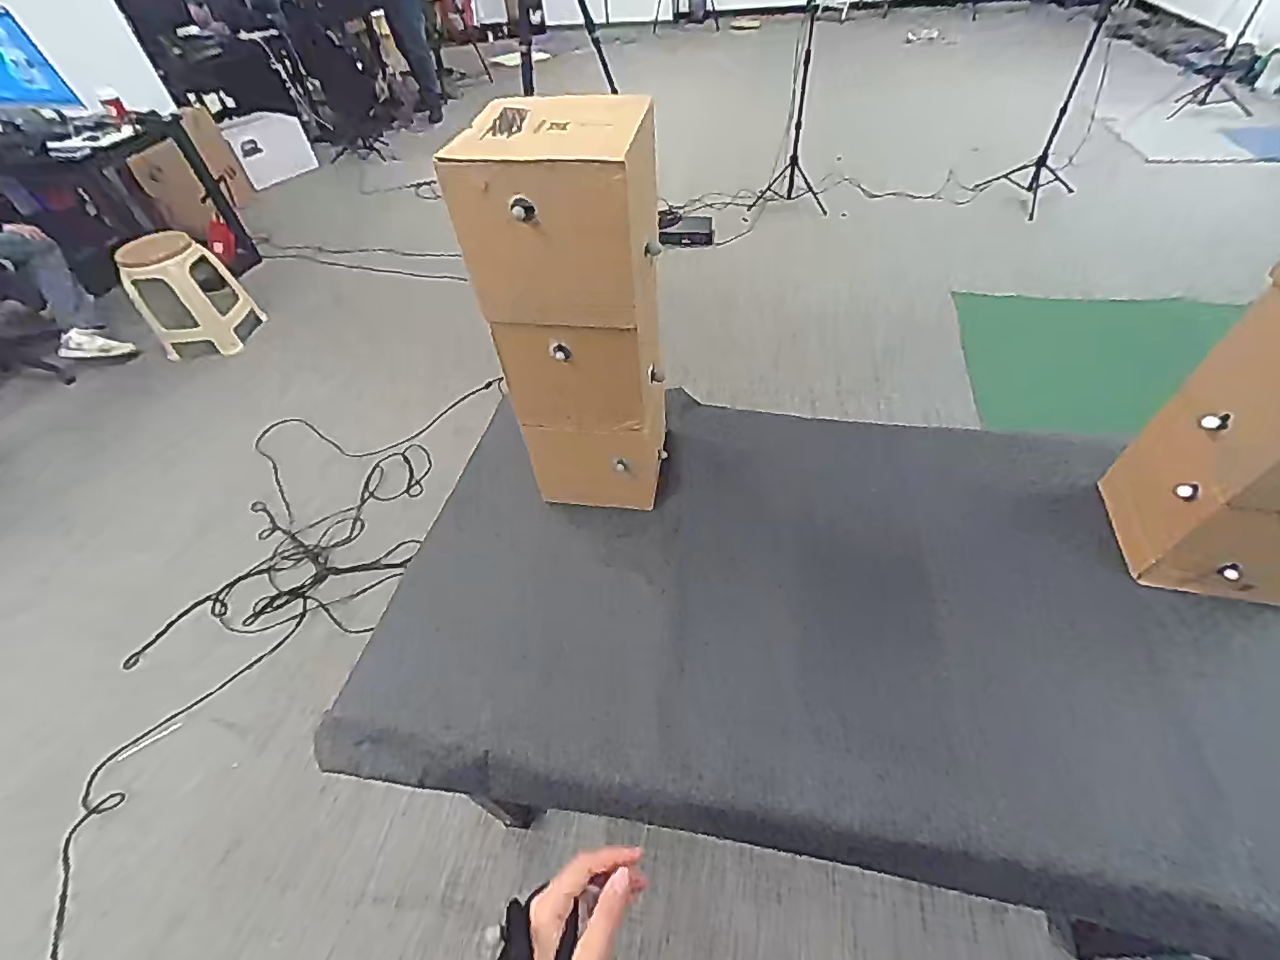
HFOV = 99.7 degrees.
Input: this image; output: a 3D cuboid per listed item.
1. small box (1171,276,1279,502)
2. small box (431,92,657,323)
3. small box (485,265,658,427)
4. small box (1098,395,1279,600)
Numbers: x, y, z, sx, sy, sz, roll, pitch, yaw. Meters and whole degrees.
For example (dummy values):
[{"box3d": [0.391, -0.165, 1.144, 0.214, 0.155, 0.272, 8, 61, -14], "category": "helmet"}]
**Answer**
[{"box3d": [0.706, -0.081, 0.544, 0.168, 0.176, 0.179, 8, 52, 12], "category": "small box"}, {"box3d": [-0.081, -0.284, 0.570, 0.179, 0.176, 0.168, 6, 52, 8], "category": "small box"}, {"box3d": [-0.073, -0.185, 0.701, 0.179, 0.176, 0.168, 4, 52, 7], "category": "small box"}, {"box3d": [0.721, 0.021, 0.671, 0.168, 0.176, 0.179, 8, 51, 12], "category": "small box"}]
